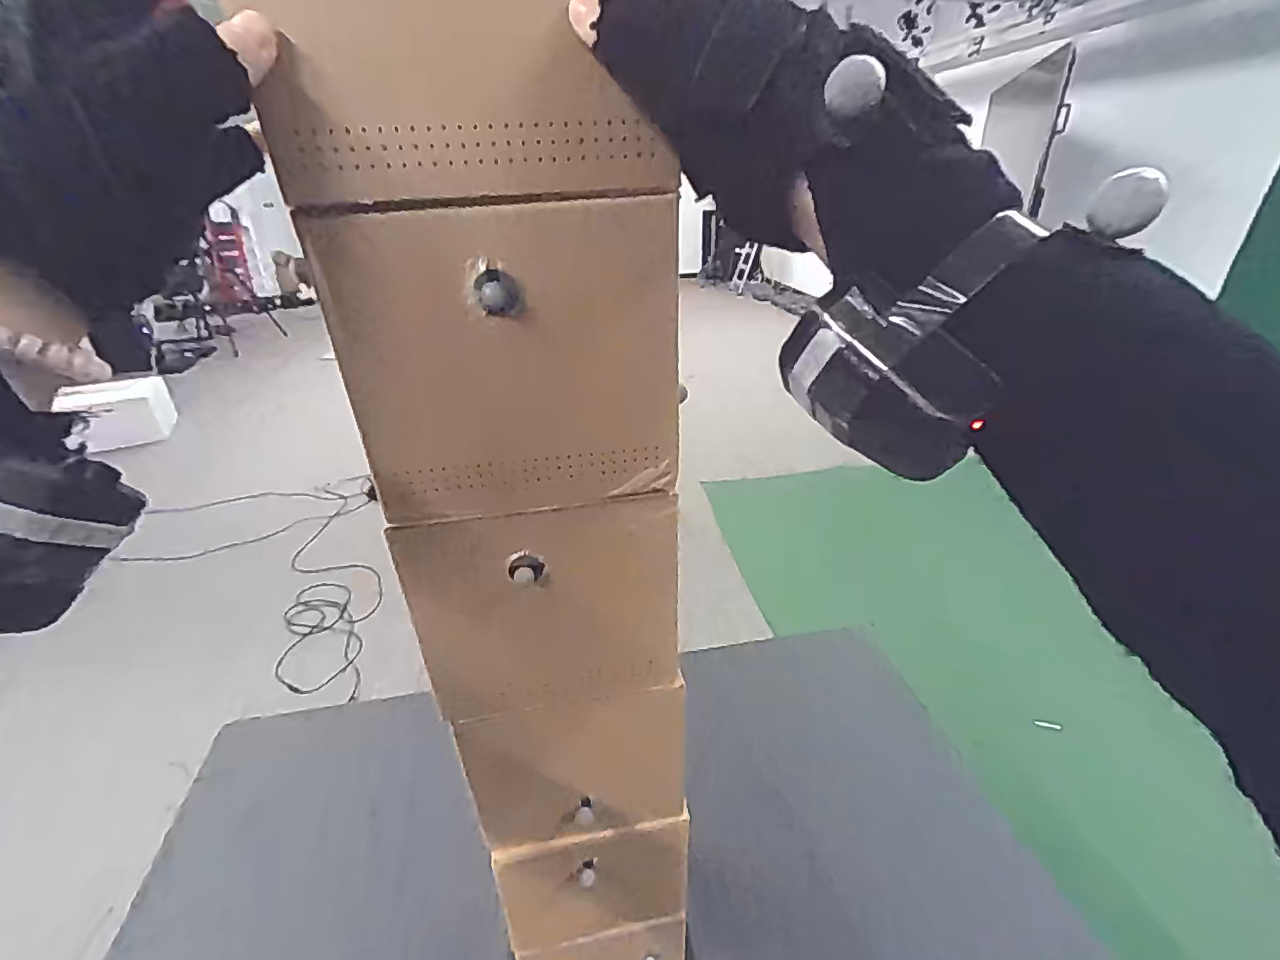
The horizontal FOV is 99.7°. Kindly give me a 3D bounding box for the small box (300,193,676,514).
[{"bbox_3d":[-0.076,-0.089,0.357,0.179,0.176,0.168,-6,29,-6],"label":"small box"}]

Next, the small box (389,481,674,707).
[{"bbox_3d":[-0.074,0.055,0.433,0.179,0.176,0.168,-6,28,-9],"label":"small box"}]

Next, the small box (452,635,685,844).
[{"bbox_3d":[-0.062,0.202,0.507,0.179,0.176,0.168,-5,28,-8],"label":"small box"}]

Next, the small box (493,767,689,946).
[{"bbox_3d":[-0.054,0.348,0.579,0.179,0.176,0.168,-7,28,-9],"label":"small box"}]

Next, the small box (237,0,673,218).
[{"bbox_3d":[-0.082,-0.233,0.279,0.179,0.176,0.168,-7,29,-8],"label":"small box"}]
